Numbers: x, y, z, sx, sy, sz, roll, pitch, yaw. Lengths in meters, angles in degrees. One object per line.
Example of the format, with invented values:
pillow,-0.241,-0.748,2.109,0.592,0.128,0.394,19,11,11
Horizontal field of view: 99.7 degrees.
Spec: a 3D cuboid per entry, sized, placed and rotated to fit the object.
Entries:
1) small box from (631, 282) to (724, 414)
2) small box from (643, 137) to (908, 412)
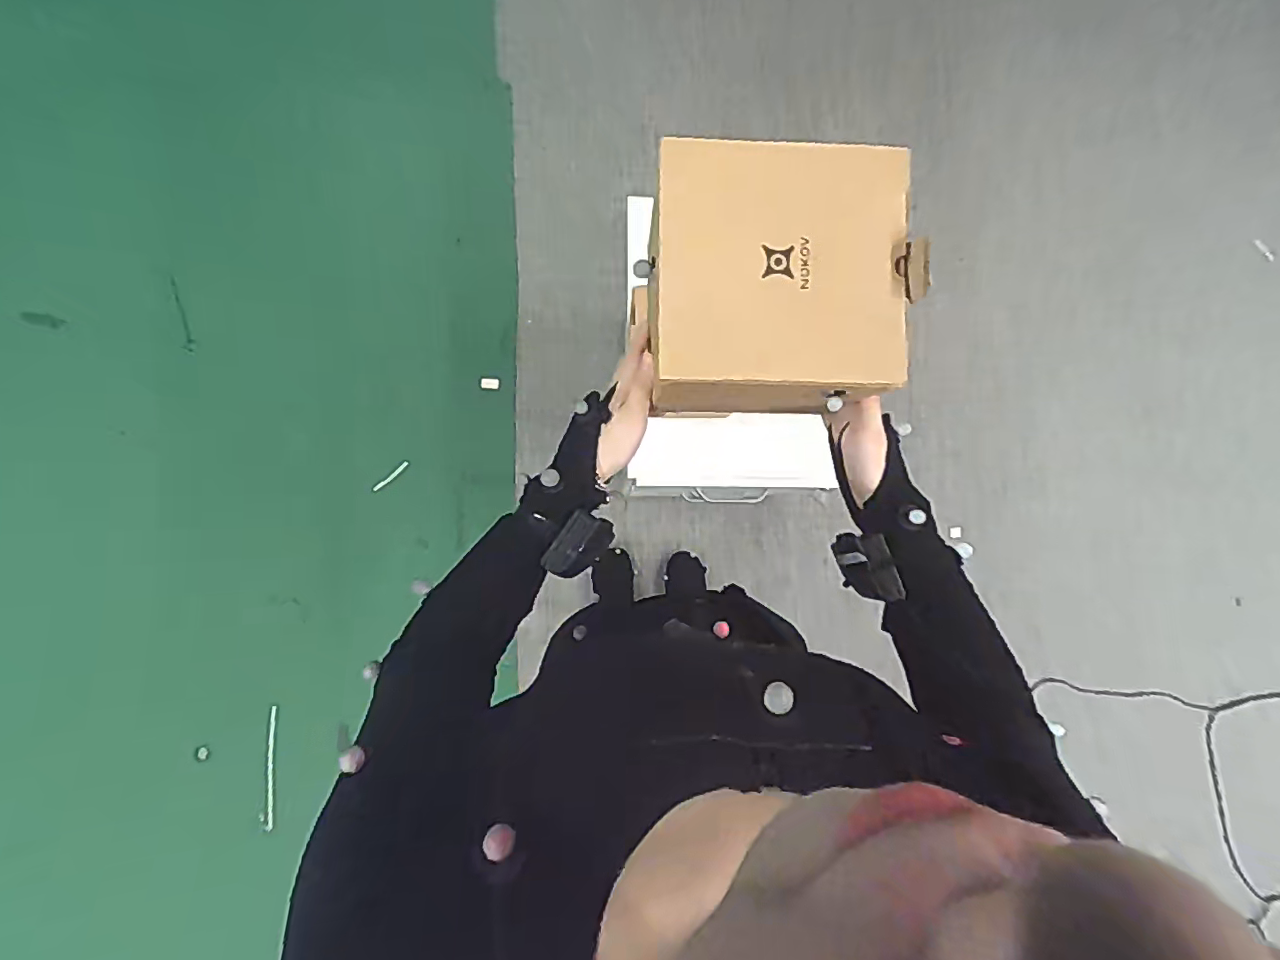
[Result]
small box,0.073,-0.200,0.858,0.179,0.176,0.168,-1,86,-3
small box,0.093,-0.147,0.446,0.179,0.176,0.168,0,90,-3
